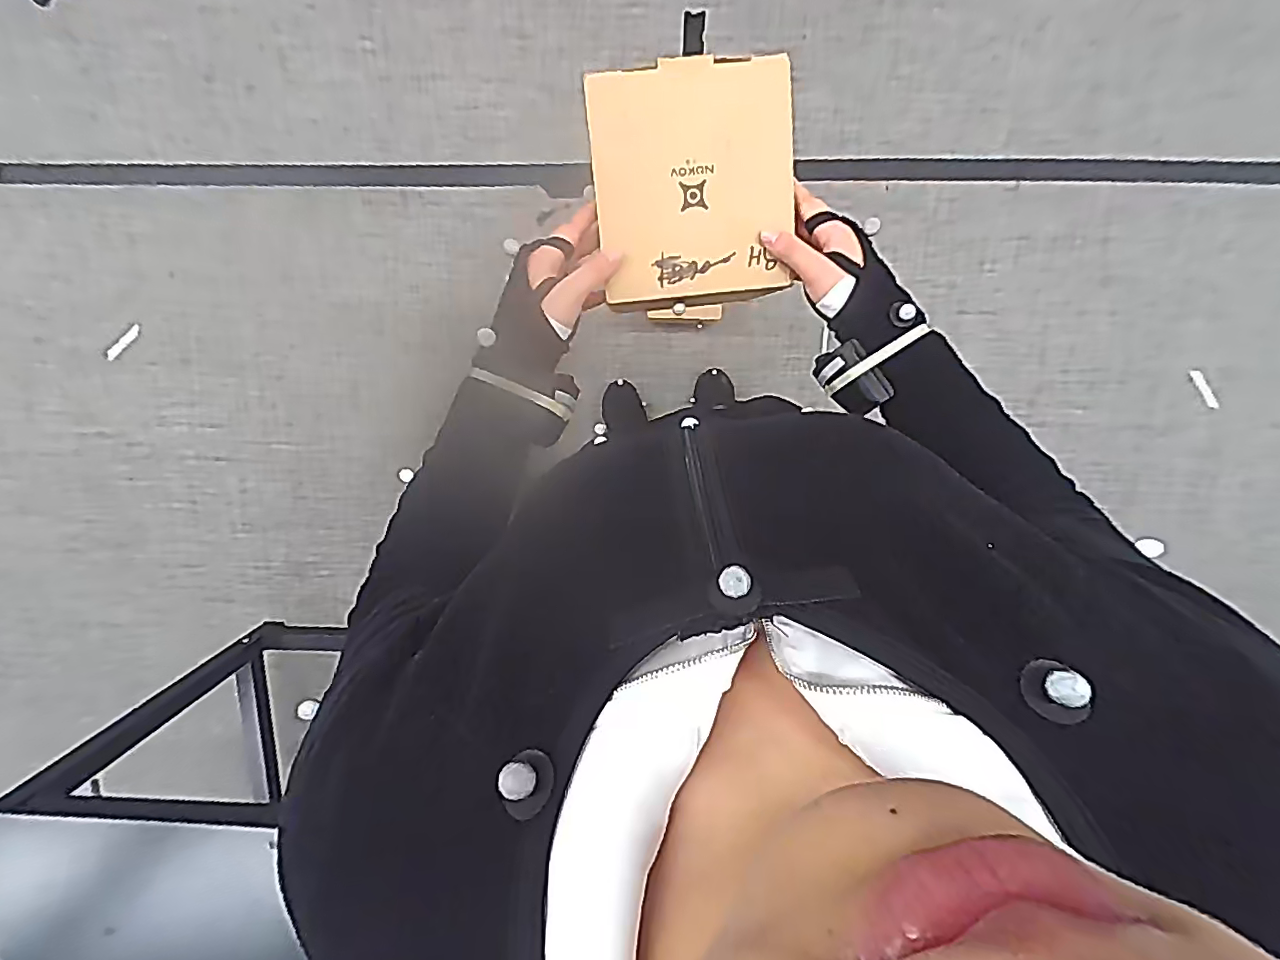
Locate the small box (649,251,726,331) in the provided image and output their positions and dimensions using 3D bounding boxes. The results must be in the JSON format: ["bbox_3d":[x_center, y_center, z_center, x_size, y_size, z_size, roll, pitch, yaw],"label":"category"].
[{"bbox_3d":[0.111,-0.458,1.329,0.179,0.176,0.168,1,101,2],"label":"small box"}]
